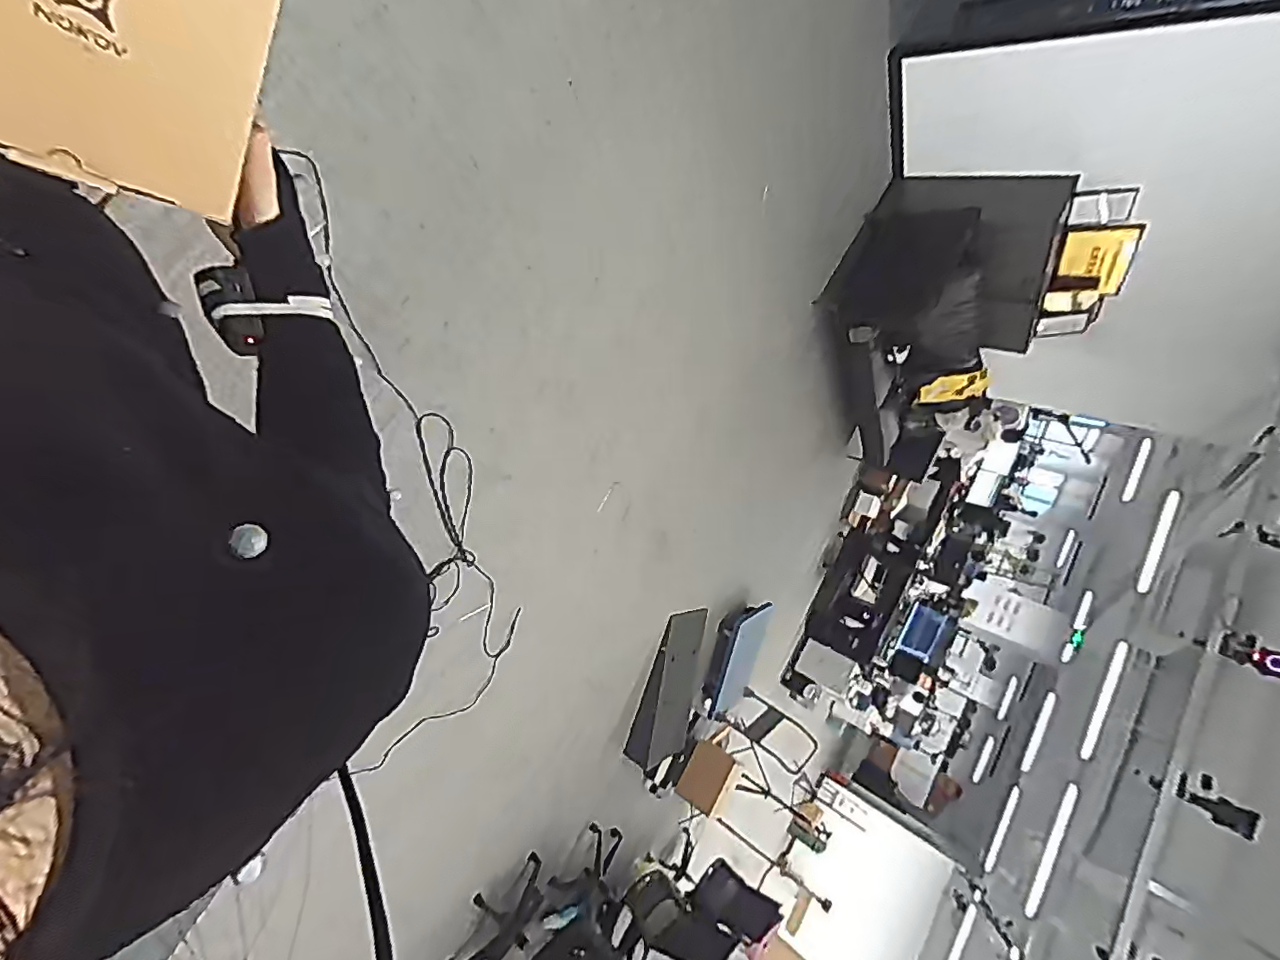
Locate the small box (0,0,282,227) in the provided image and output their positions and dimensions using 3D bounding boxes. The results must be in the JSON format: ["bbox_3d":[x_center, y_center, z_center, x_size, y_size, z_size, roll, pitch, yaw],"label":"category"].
[{"bbox_3d":[-0.360,-0.297,0.333,0.168,0.176,0.179,2,120,-57],"label":"small box"}]
